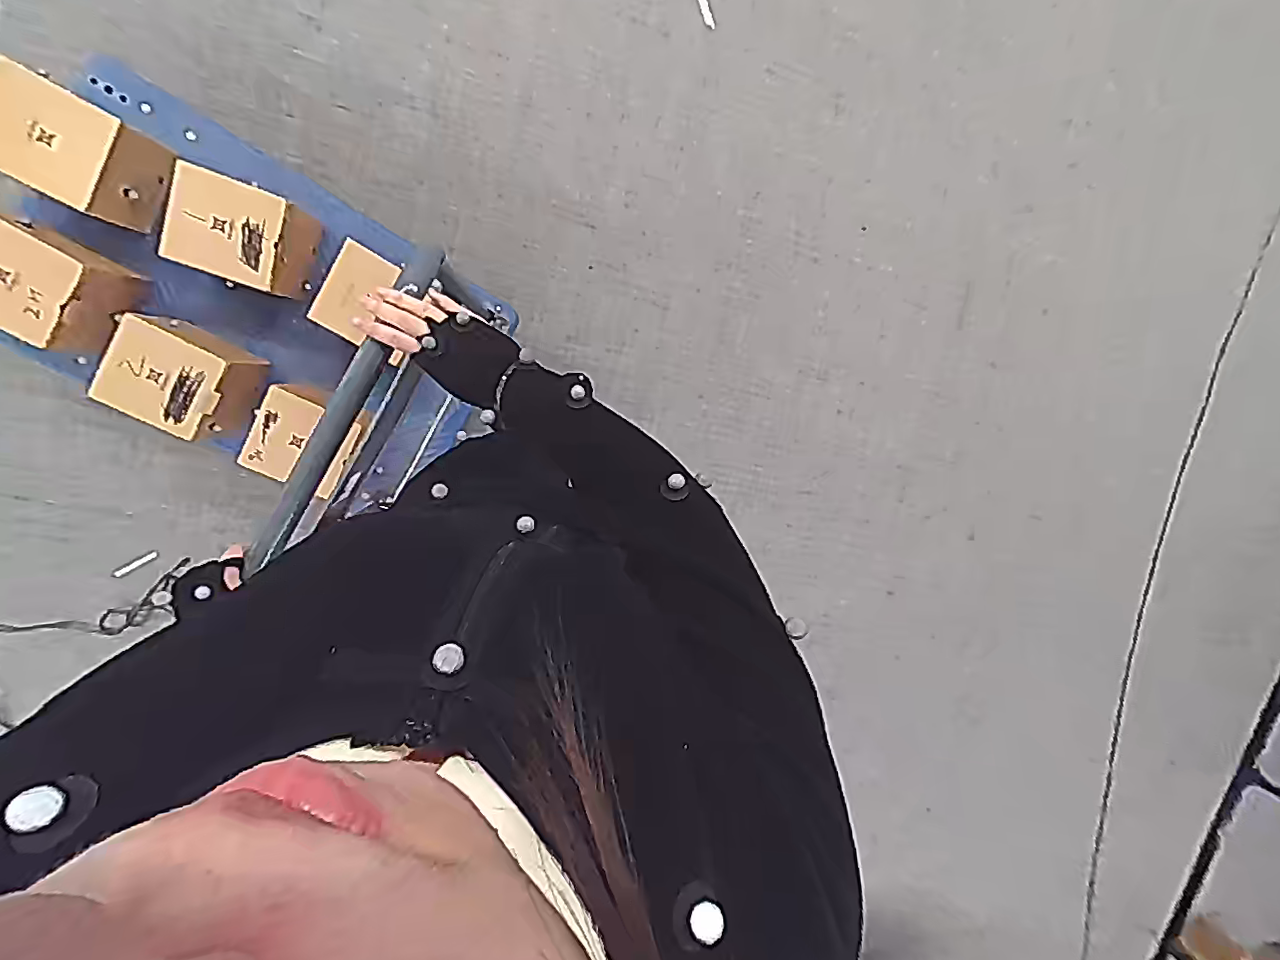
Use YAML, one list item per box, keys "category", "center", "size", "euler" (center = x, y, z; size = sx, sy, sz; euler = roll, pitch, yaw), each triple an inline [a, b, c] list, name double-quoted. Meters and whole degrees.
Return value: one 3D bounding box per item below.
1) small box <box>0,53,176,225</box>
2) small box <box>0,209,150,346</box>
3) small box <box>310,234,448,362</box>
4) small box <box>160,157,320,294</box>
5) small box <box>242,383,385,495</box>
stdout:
- category: "small box"
  center: [-0.968, -0.570, 0.937]
  size: [0.179, 0.176, 0.168]
  euler: [26, 96, -15]
- category: "small box"
  center: [-1.052, -0.352, 0.965]
  size: [0.179, 0.176, 0.168]
  euler: [31, 95, -16]
- category: "small box"
  center: [-0.505, -0.352, 1.077]
  size: [0.179, 0.176, 0.168]
  euler: [29, 94, -15]
- category: "small box"
  center: [-0.730, -0.459, 1.008]
  size: [0.179, 0.176, 0.168]
  euler: [16, 98, -14]
- category: "small box"
  center: [-0.649, -0.091, 1.101]
  size: [0.179, 0.176, 0.168]
  euler: [25, 95, -15]
